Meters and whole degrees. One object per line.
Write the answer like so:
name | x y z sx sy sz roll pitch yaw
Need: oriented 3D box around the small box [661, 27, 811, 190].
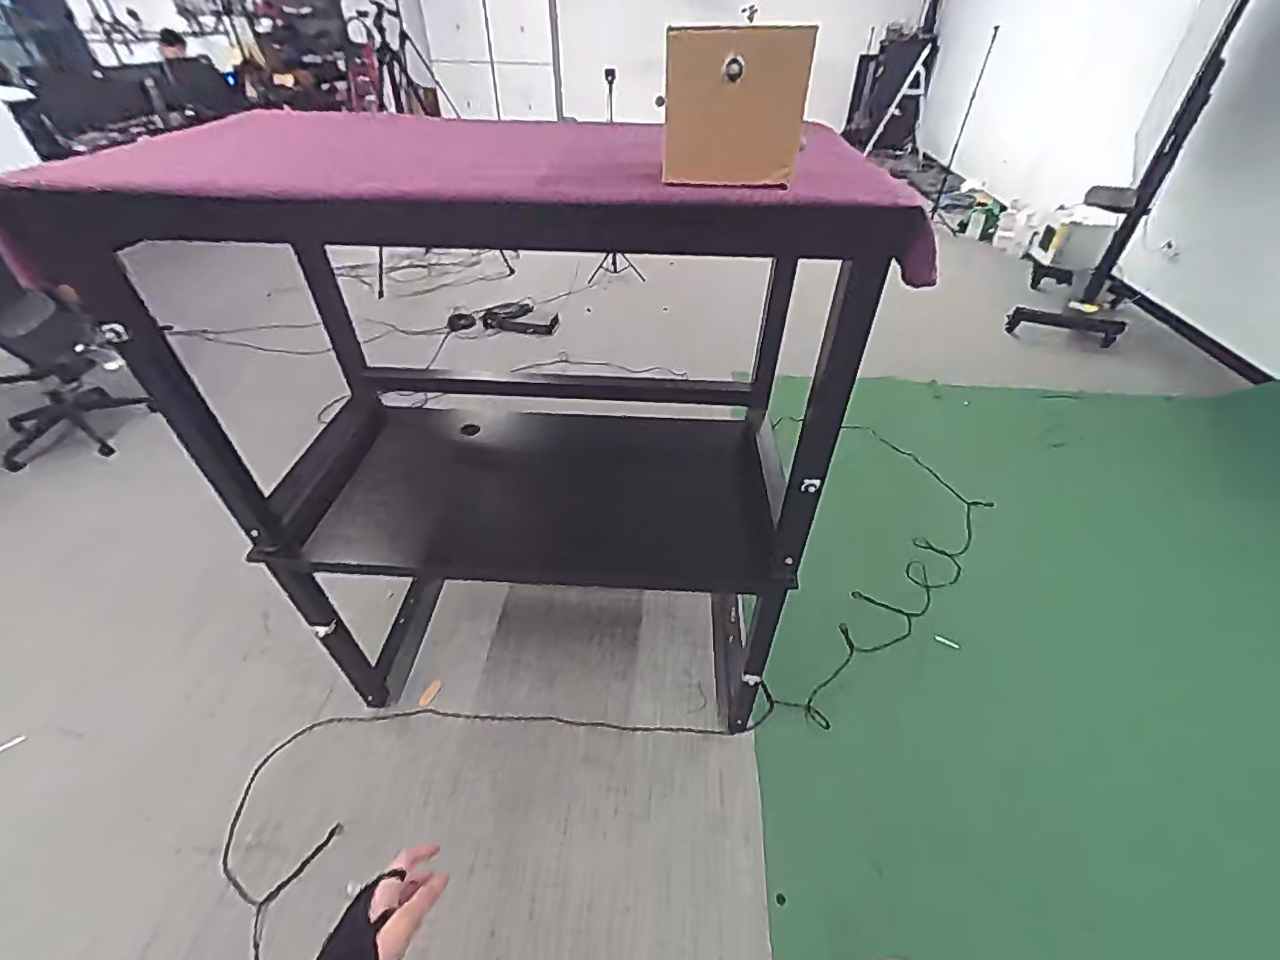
small box | 0.123 -0.504 0.737 0.179 0.176 0.168 4 41 6
